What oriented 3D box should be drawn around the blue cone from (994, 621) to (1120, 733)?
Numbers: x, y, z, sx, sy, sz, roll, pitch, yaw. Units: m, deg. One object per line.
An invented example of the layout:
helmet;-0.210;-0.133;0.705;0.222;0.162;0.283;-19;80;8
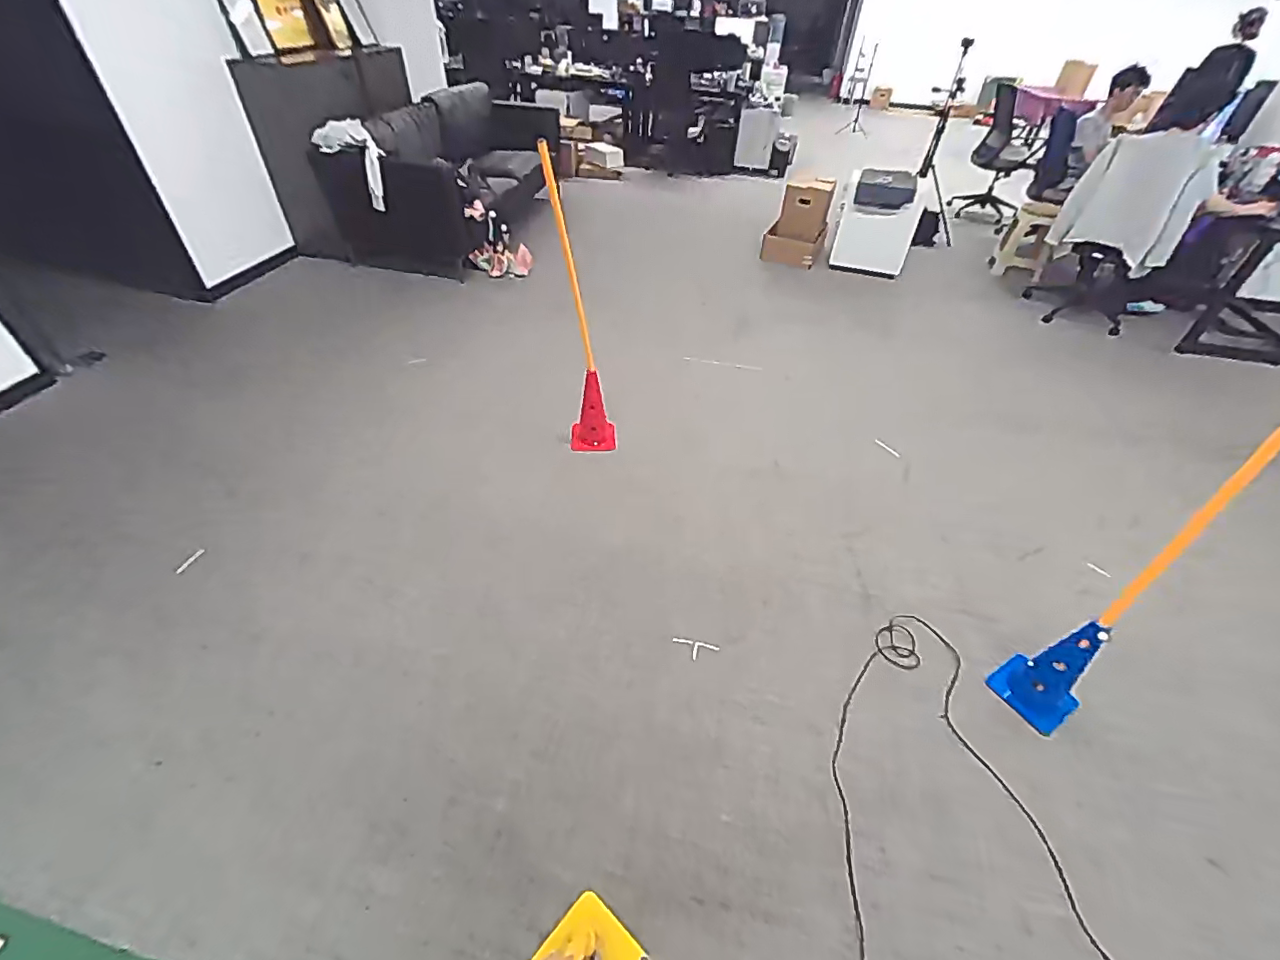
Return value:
blue cone;1.193;0.513;1.514;0.193;0.380;0.192;-20;46;-27
